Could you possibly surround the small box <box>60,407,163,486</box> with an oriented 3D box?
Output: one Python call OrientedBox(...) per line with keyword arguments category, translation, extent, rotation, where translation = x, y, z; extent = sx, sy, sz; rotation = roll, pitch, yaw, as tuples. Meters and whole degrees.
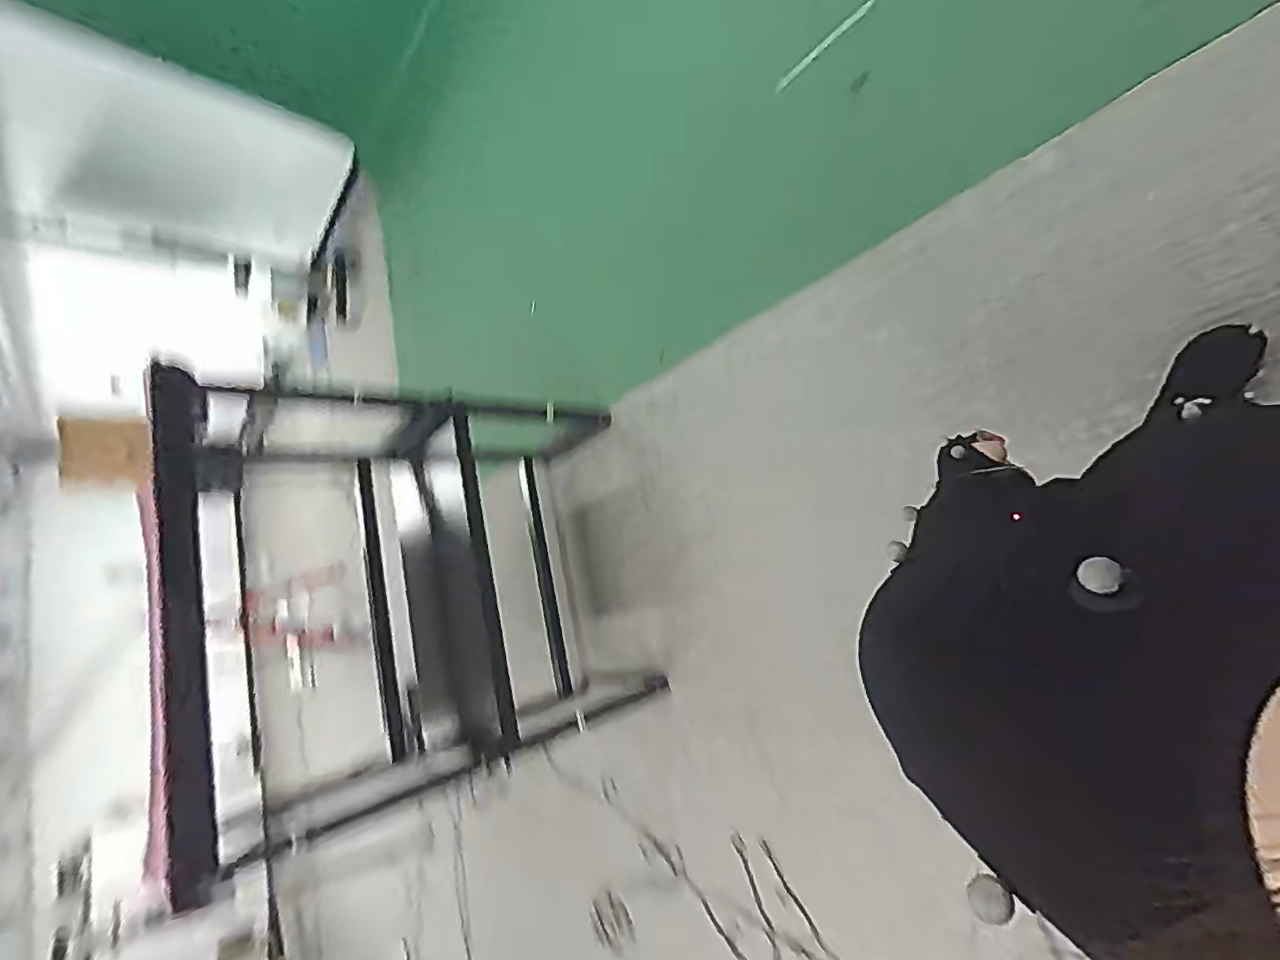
OrientedBox(category="small box", translation=(-1.269, -0.075, 1.303), extent=(0.179, 0.176, 0.168), rotation=(-8, 86, 44))
